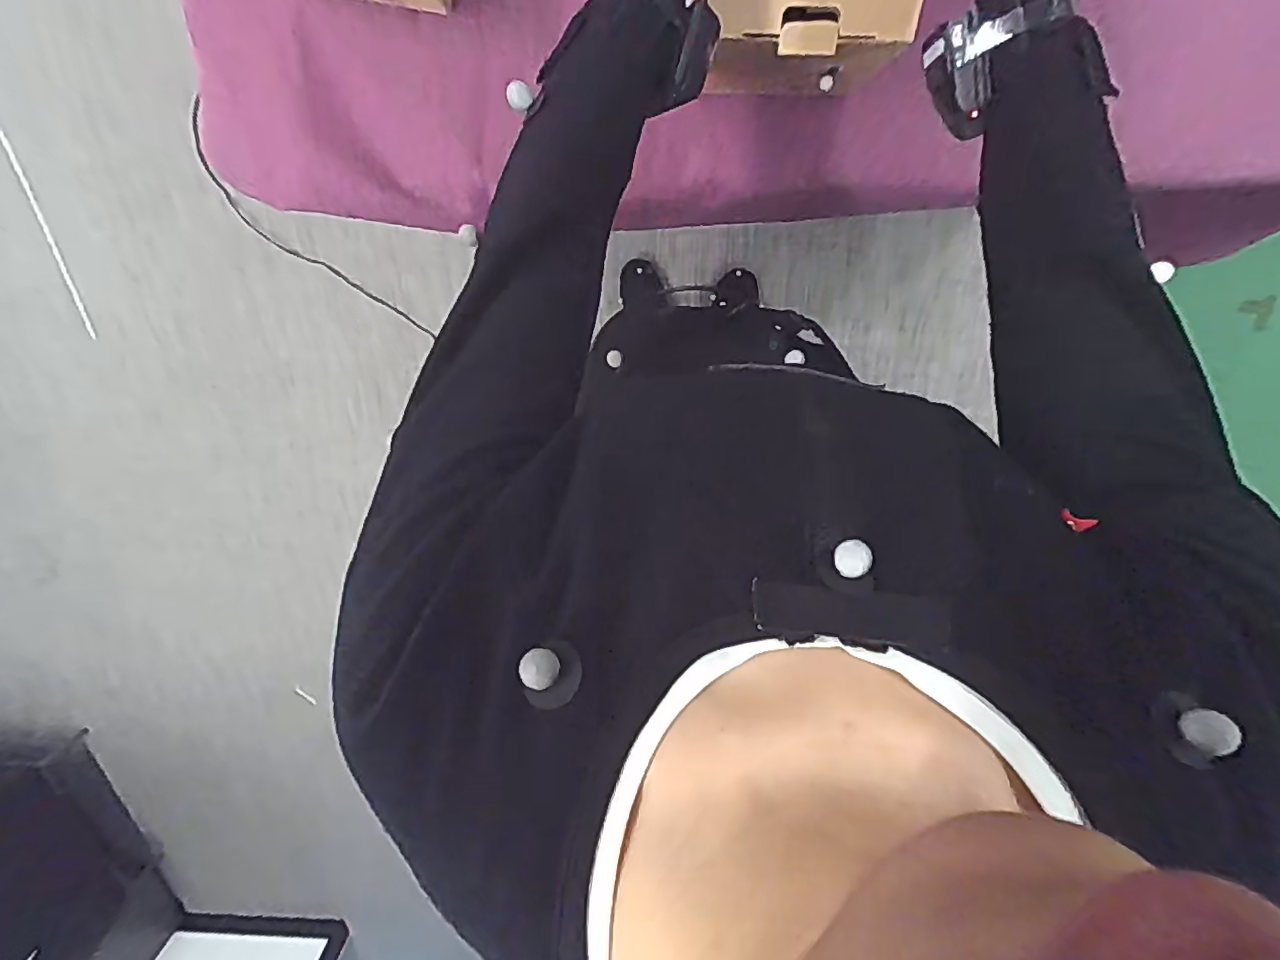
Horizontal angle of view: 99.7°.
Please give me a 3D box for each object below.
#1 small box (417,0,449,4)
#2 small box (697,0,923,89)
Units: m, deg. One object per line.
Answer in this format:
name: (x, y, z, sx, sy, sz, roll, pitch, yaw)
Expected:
small box: (-0.258, -0.533, 0.440, 0.168, 0.176, 0.179, 9, 115, -1)
small box: (0.137, -0.449, 0.451, 0.168, 0.176, 0.179, 3, 114, 2)
